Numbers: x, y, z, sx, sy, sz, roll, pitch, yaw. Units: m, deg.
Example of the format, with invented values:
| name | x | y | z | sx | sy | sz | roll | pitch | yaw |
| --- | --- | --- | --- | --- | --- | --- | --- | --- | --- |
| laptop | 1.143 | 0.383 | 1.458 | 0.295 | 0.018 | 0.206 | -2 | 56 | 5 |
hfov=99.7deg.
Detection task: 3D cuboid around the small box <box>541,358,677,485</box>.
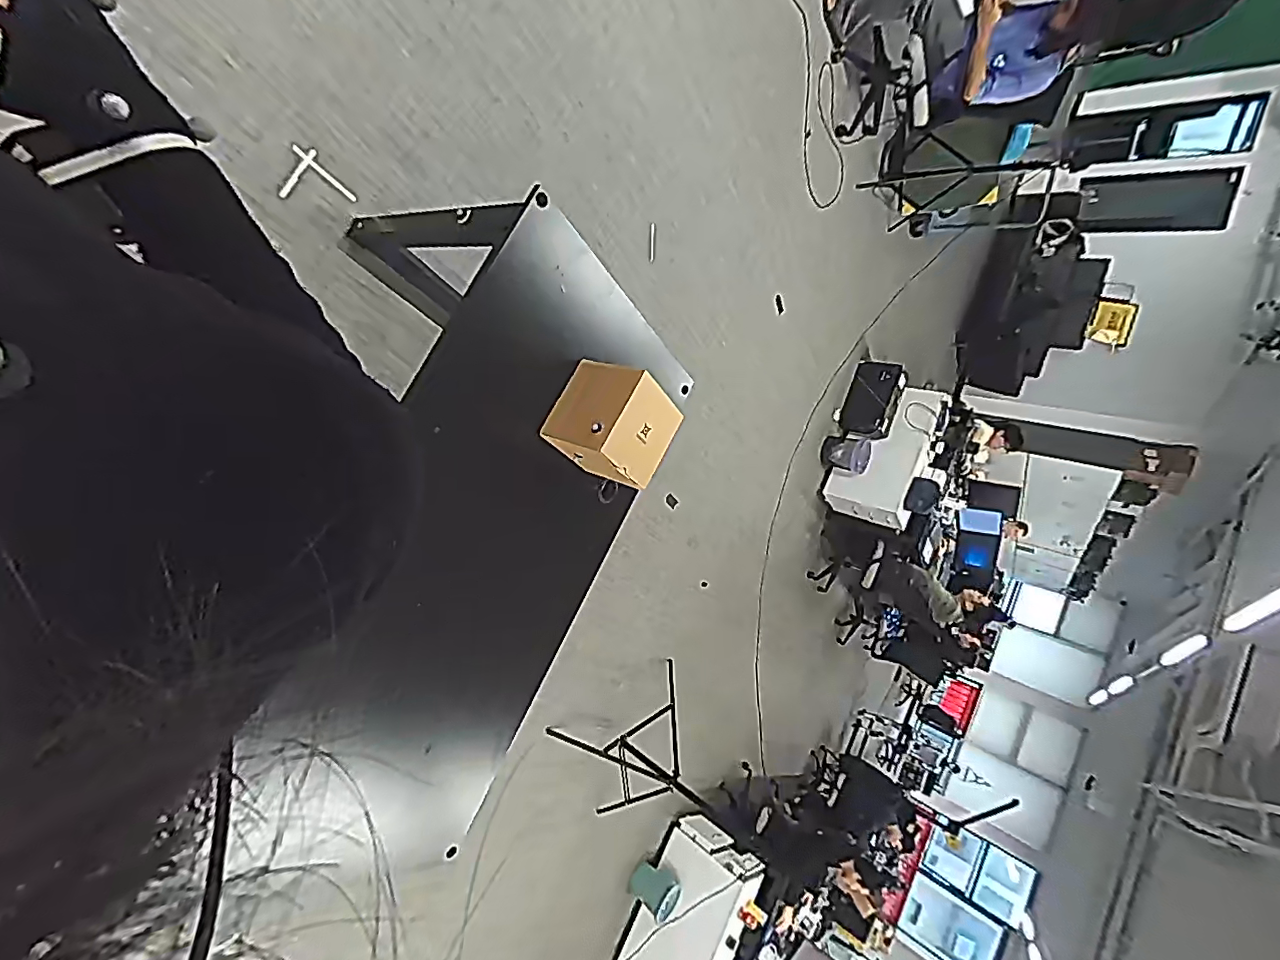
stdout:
| name | x | y | z | sx | sy | sz | roll | pitch | yaw |
| --- | --- | --- | --- | --- | --- | --- | --- | --- | --- |
| small box | -0.062 | -0.118 | 1.058 | 0.168 | 0.176 | 0.179 | 41 | 73 | -50 |
